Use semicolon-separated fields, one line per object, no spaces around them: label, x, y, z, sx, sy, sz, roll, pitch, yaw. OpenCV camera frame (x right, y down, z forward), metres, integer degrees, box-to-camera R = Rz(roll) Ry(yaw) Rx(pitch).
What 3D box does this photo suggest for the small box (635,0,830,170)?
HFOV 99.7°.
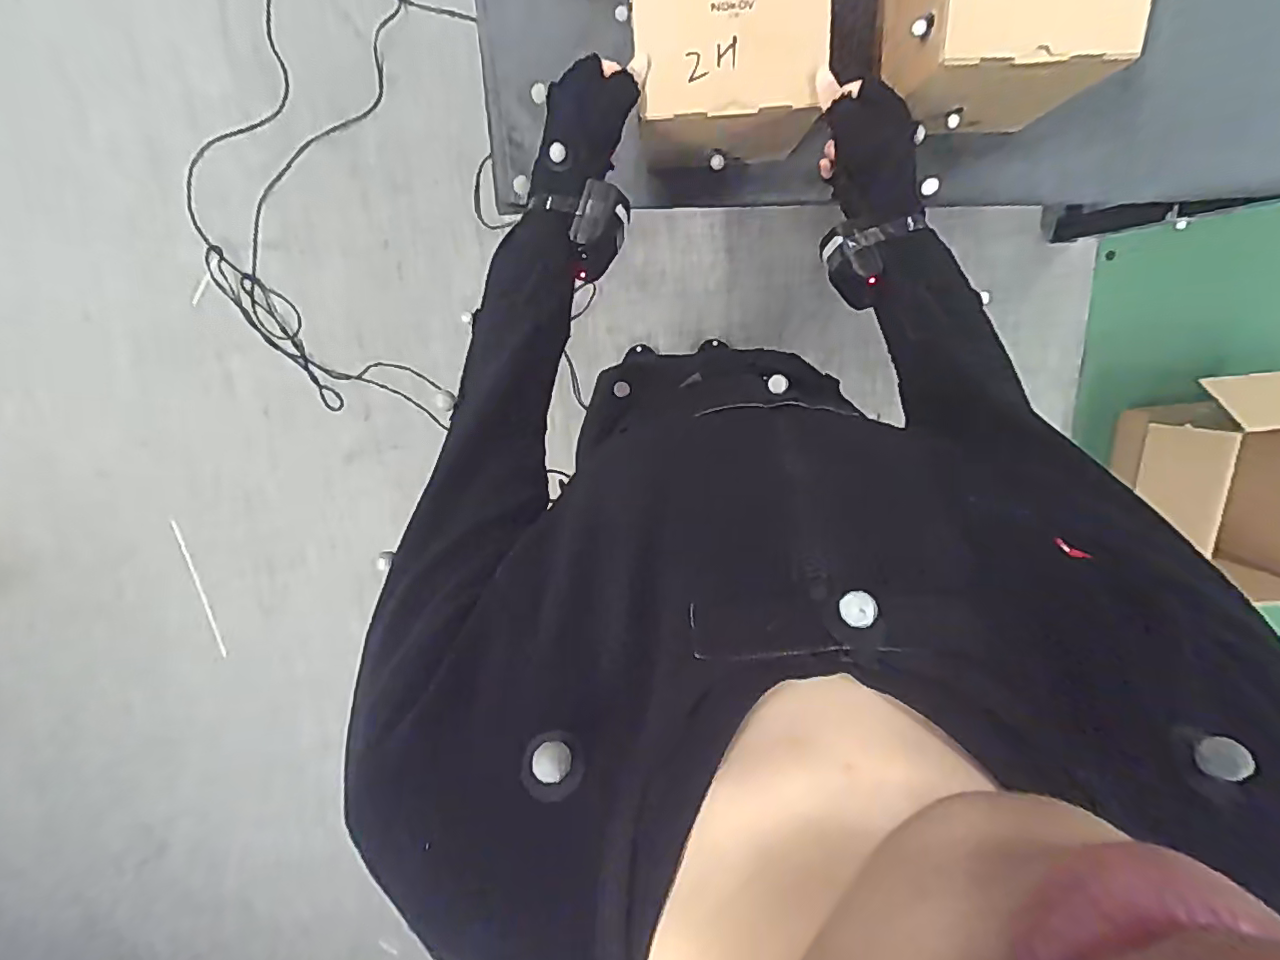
small box;0.079;-0.427;0.528;0.168;0.176;0.179;-3;106;3
